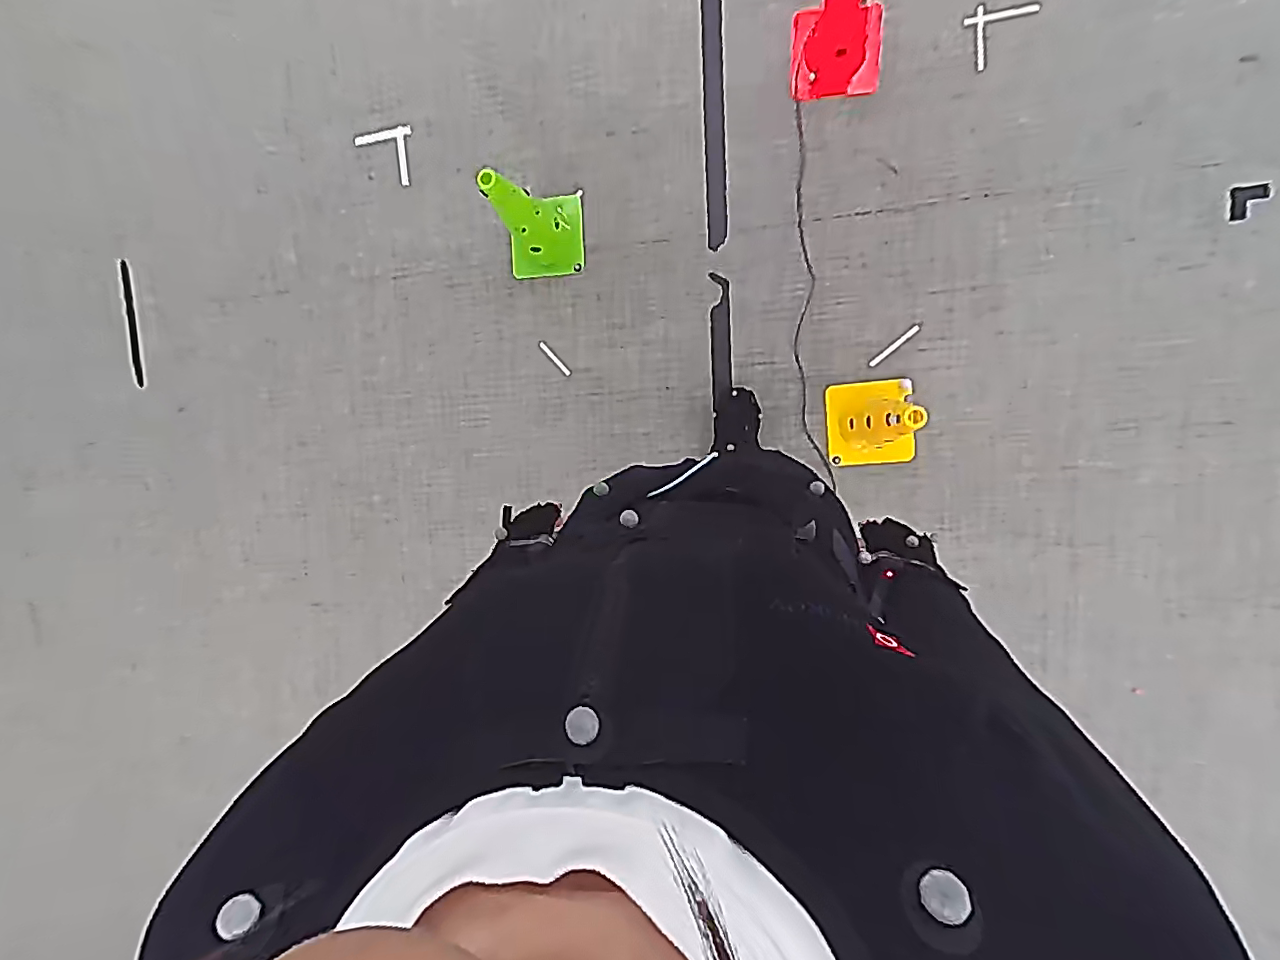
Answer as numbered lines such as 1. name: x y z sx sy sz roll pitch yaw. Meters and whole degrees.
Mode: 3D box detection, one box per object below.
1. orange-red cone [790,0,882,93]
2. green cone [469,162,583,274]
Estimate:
1. orange-red cone: 0.428 -0.997 1.097 0.199 0.360 0.198 3 97 9
2. green cone: -0.285 -0.639 1.257 0.202 0.368 0.200 -2 94 12
